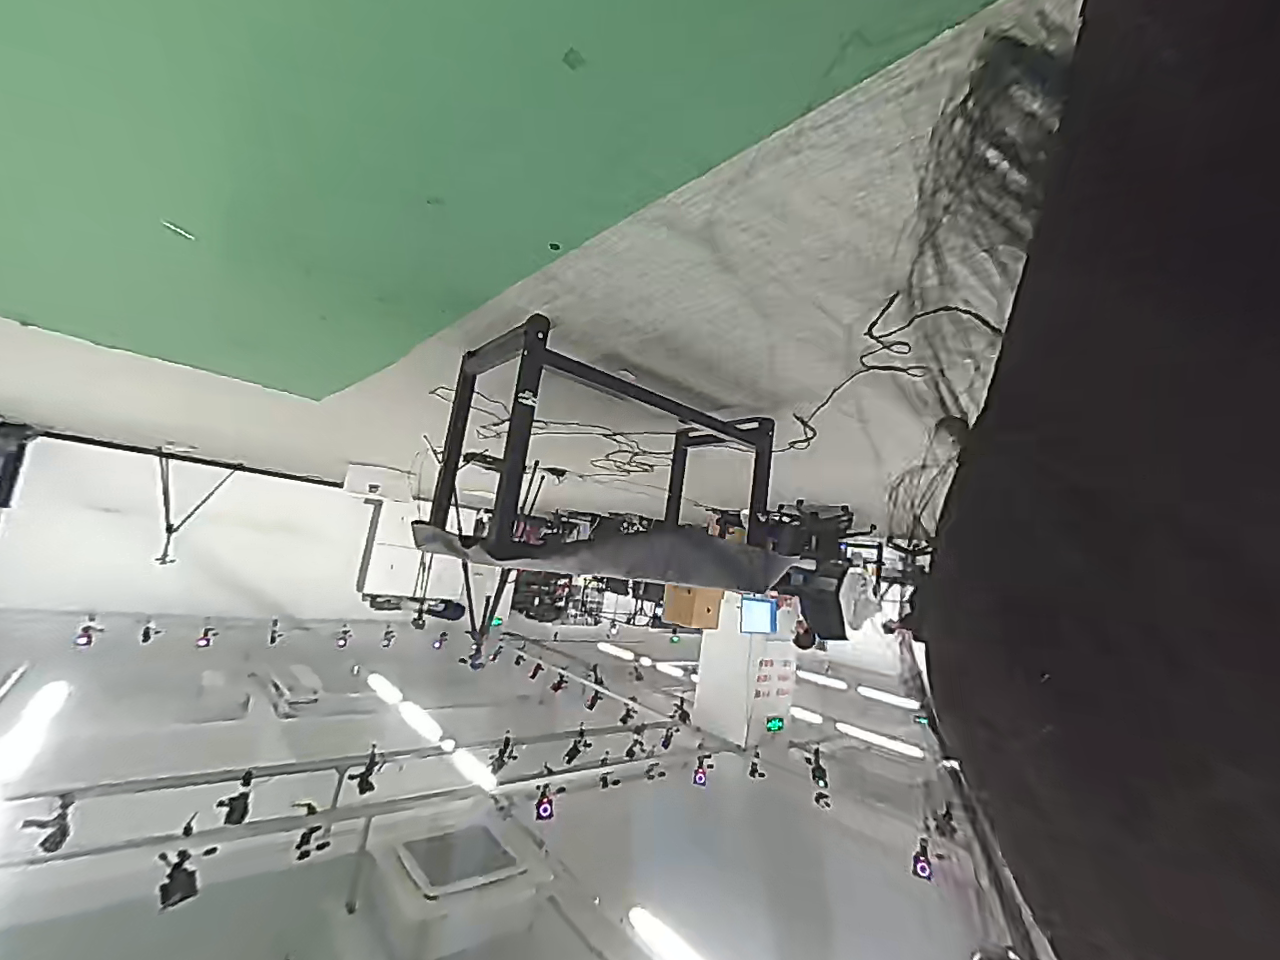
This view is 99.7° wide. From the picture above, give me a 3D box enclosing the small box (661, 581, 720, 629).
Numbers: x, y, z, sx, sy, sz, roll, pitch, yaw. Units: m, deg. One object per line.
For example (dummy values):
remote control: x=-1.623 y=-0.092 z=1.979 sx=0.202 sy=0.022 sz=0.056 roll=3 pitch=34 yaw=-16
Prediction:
small box: x=0.208 y=0.505 z=2.204 sx=0.179 sy=0.176 sz=0.168 roll=16 pitch=169 yaw=-42
